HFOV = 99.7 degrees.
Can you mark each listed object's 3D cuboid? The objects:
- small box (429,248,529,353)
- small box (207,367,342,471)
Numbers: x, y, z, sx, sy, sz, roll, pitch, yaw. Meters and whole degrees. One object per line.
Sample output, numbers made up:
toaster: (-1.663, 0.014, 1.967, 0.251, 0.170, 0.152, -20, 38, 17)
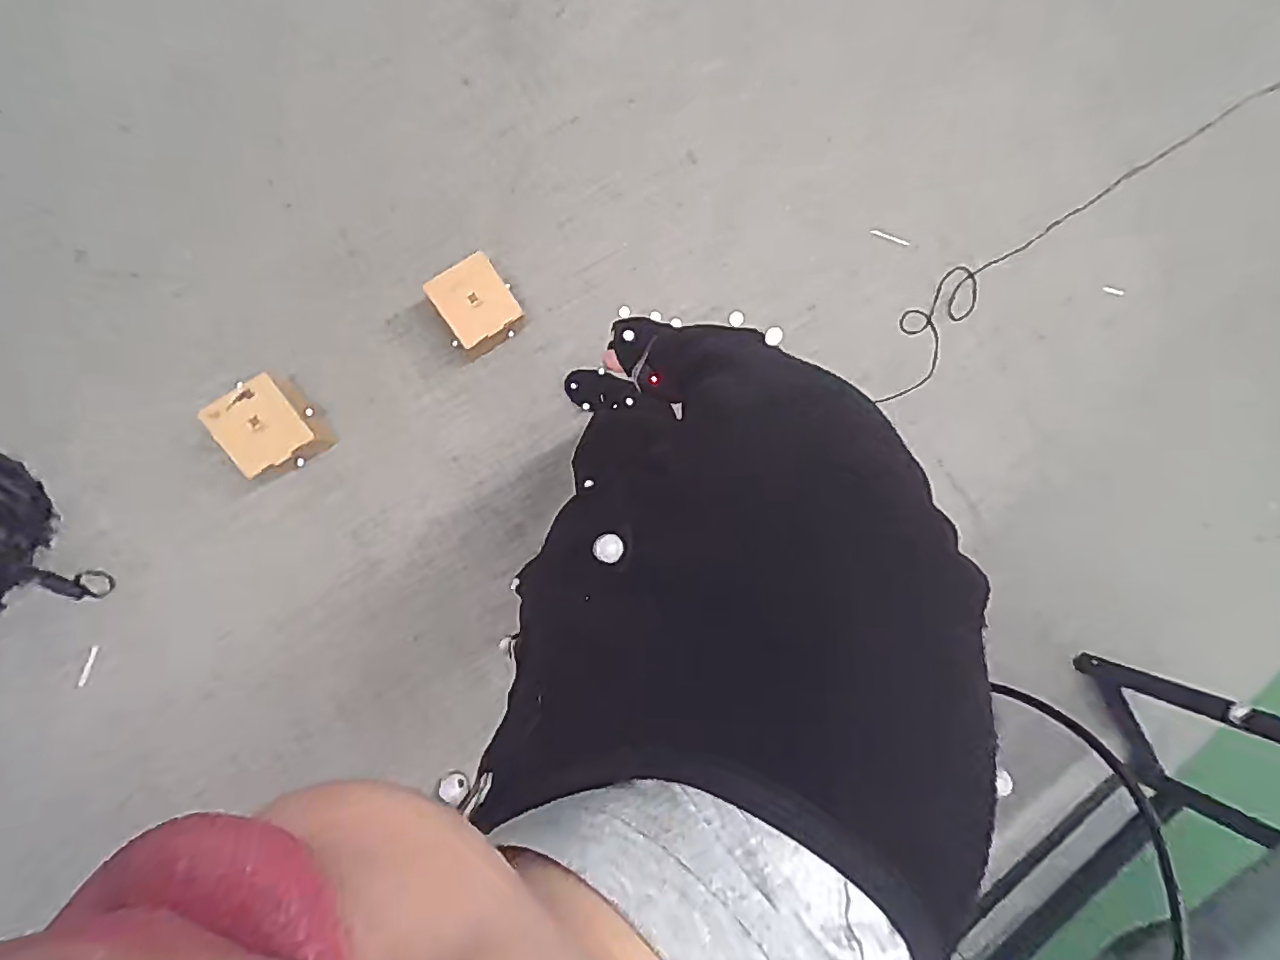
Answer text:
small box: (-0.392, -0.434, 1.349, 0.168, 0.176, 0.179, -36, 97, -9)
small box: (-0.840, -0.140, 1.267, 0.168, 0.176, 0.179, -34, 99, -9)
